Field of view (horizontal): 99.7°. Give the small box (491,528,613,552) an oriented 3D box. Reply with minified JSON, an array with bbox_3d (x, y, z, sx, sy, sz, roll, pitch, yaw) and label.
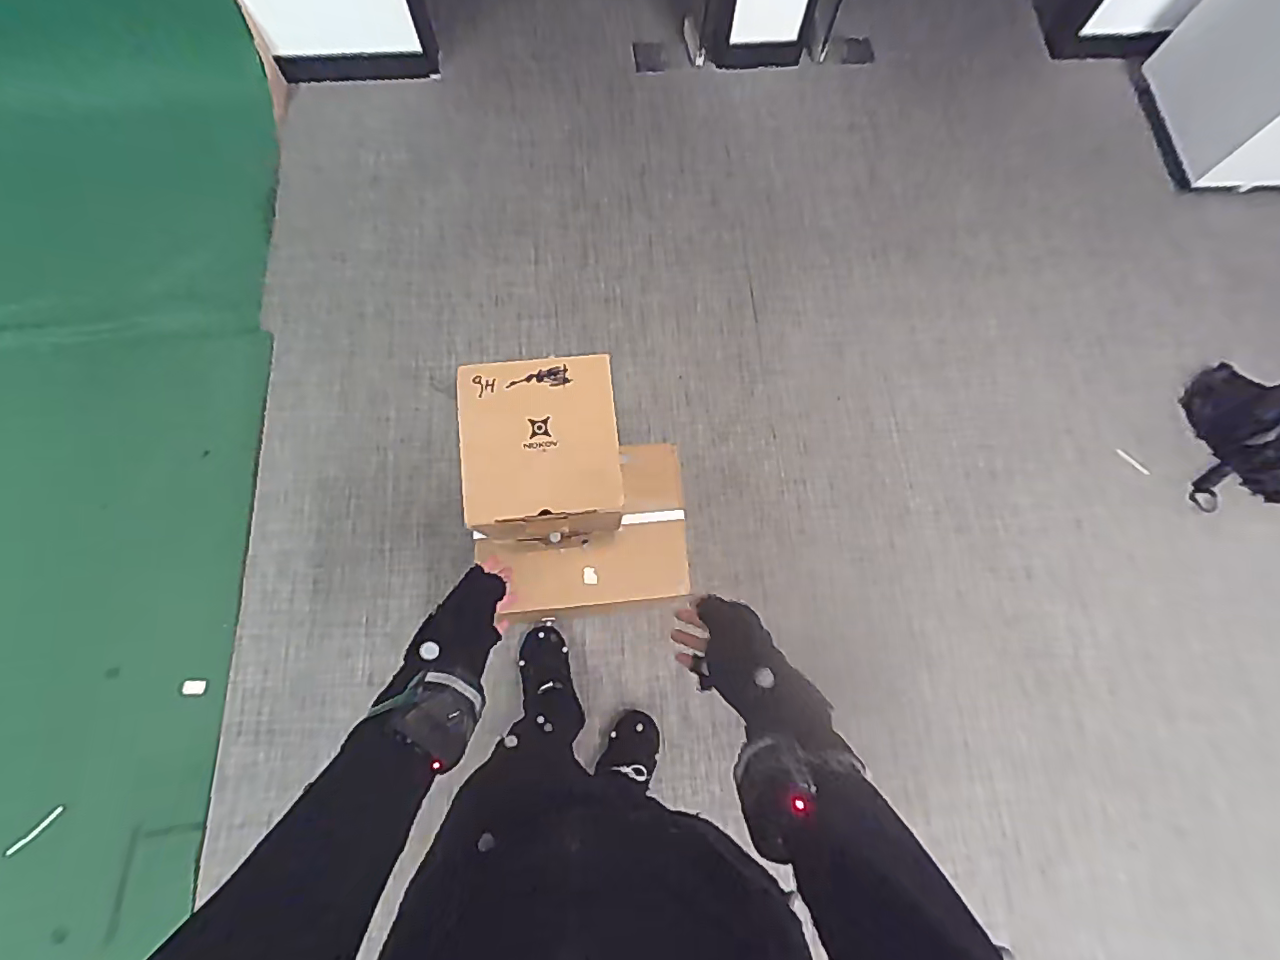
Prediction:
[{"bbox_3d":[-0.128,0.013,0.811,0.168,0.176,0.179,-6,77,-5],"label":"small box"}]

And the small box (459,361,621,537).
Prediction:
[{"bbox_3d":[-0.110,-0.025,0.653,0.168,0.176,0.179,-6,79,-5],"label":"small box"}]
